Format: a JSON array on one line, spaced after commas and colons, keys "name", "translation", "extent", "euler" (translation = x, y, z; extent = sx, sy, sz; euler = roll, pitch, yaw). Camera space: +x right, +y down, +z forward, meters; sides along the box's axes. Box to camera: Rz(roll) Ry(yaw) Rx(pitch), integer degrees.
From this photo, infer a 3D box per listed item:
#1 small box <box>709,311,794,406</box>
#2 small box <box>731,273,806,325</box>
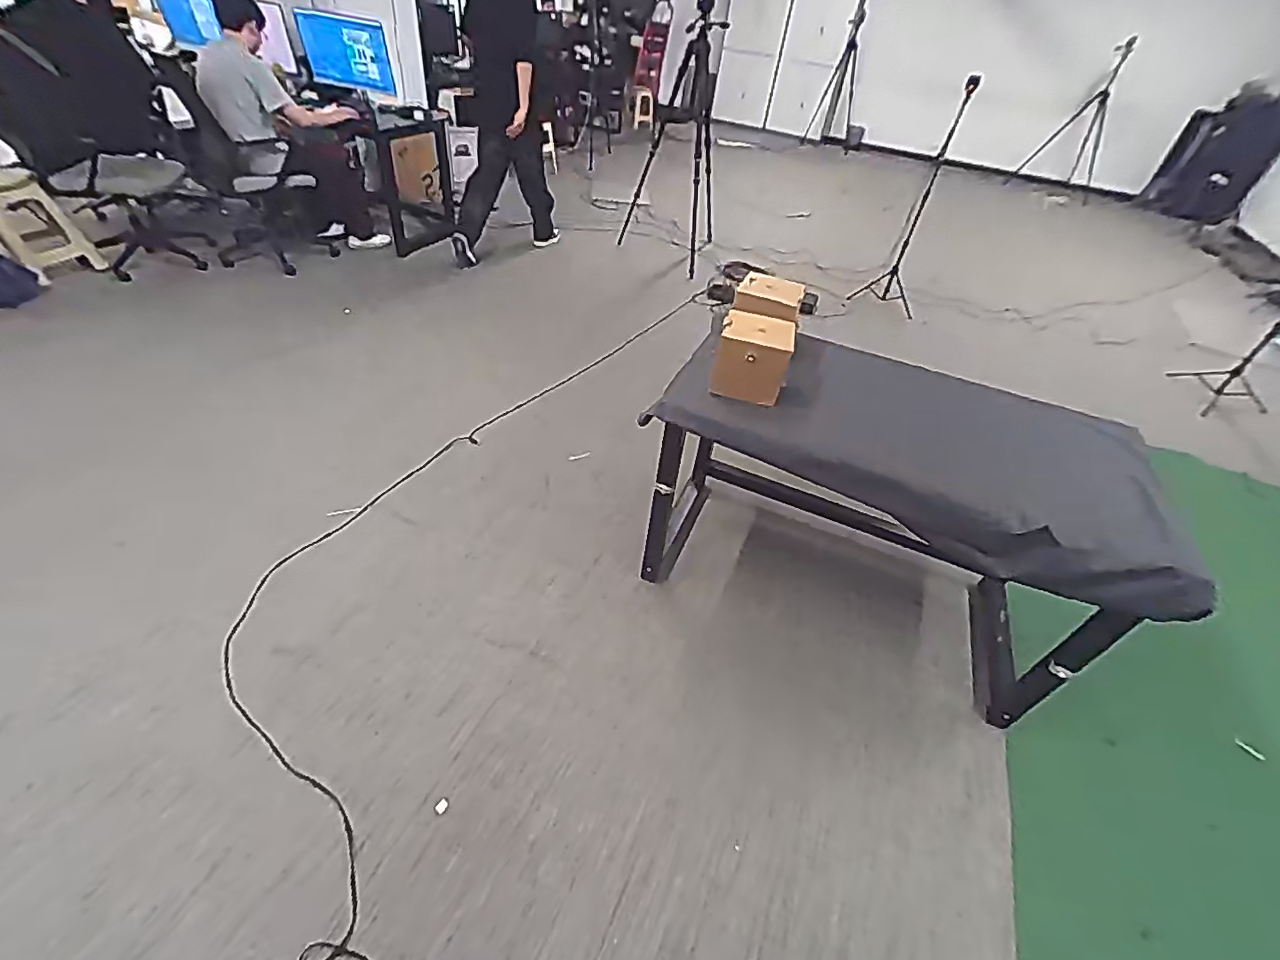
[{"name": "small box", "translation": [0.288, -0.314, 1.409], "extent": [0.179, 0.176, 0.168], "euler": [16, 43, 5]}, {"name": "small box", "translation": [0.369, -0.487, 1.610], "extent": [0.179, 0.176, 0.168], "euler": [21, 44, 13]}]
